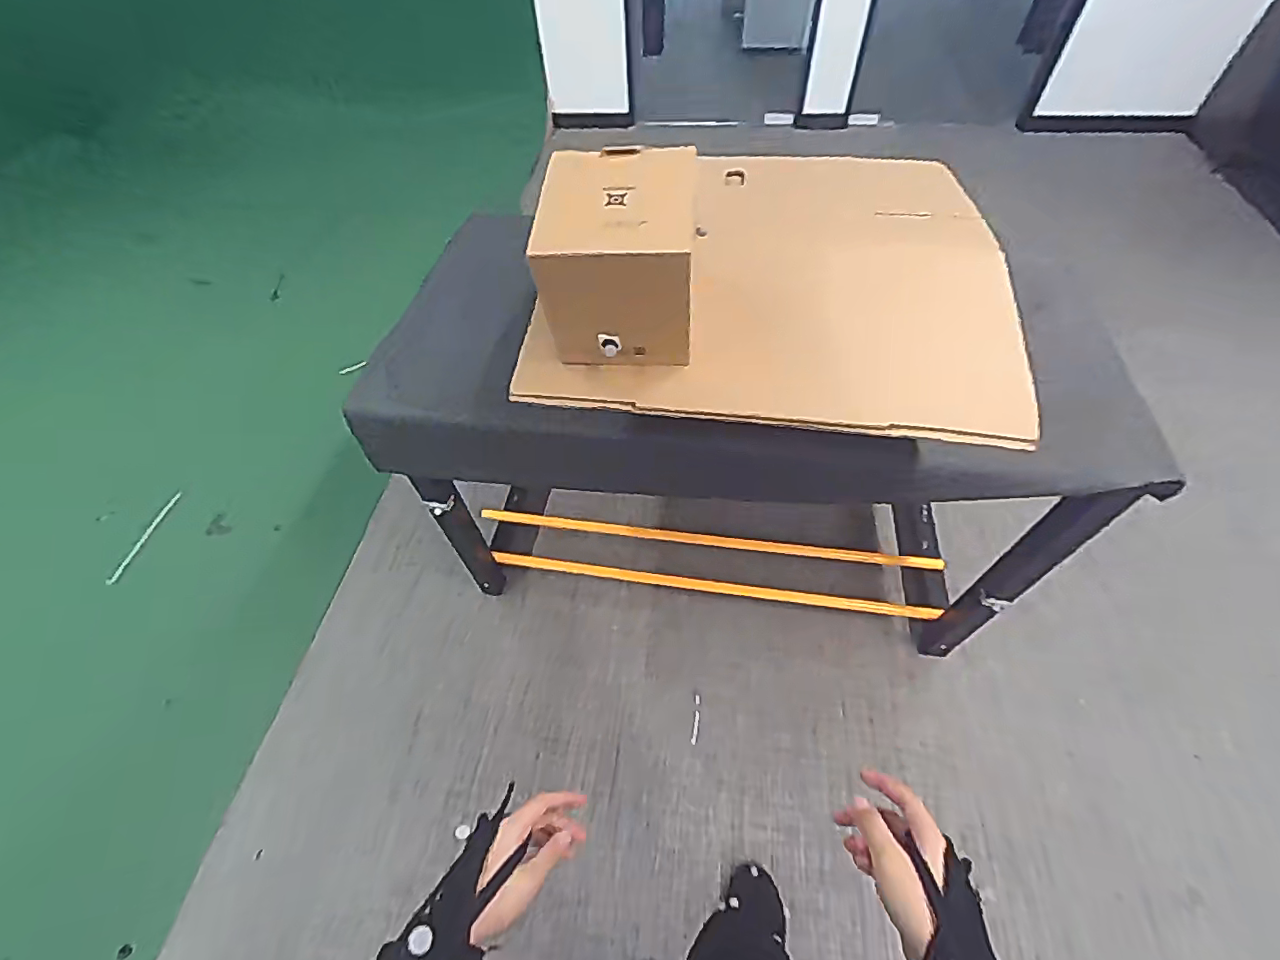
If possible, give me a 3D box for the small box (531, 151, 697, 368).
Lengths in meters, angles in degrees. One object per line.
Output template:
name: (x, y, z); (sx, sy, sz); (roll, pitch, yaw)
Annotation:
small box: (-0.018, -0.256, 0.642); (0.168, 0.176, 0.179); (0, 62, 6)
